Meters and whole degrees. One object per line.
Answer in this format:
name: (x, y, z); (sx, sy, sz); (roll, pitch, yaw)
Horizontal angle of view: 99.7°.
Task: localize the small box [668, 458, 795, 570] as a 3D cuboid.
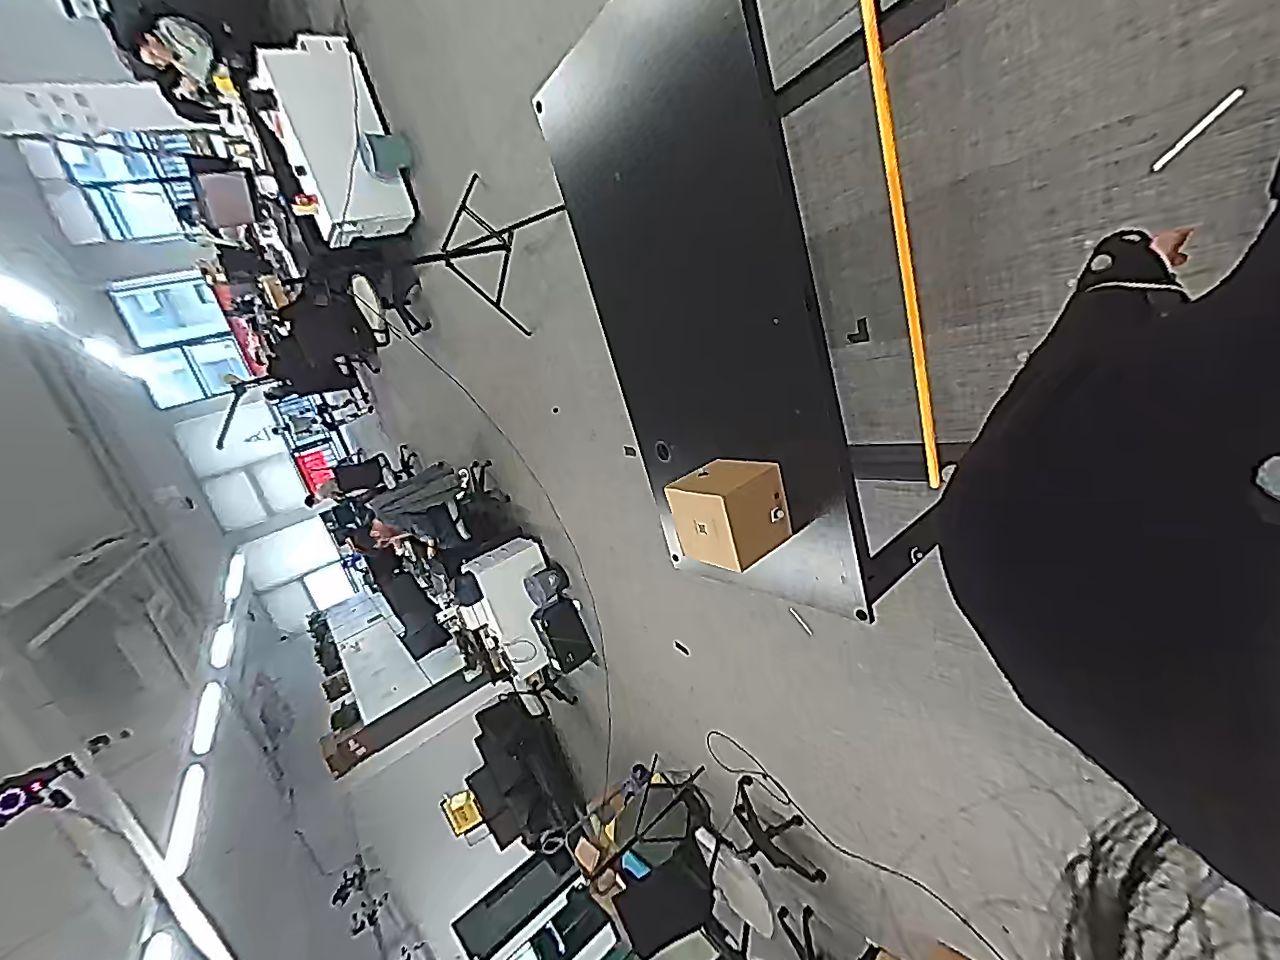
small box: (0.190, 0.060, 1.117); (0.179, 0.176, 0.168); (7, 119, 54)
